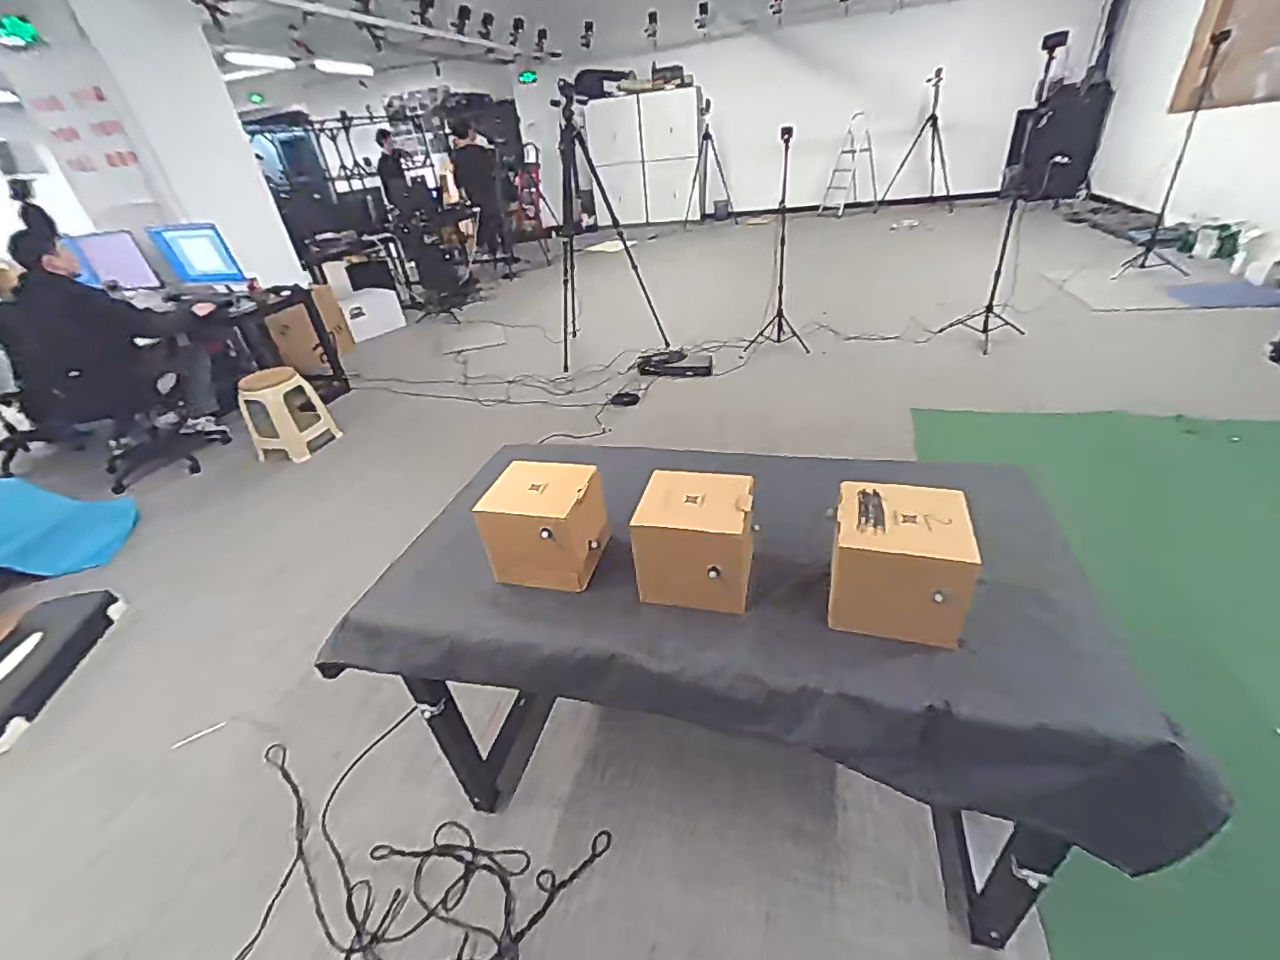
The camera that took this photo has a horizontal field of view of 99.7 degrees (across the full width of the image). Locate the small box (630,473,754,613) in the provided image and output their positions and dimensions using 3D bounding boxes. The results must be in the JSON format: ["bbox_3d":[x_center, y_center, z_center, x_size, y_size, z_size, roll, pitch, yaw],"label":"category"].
[{"bbox_3d":[0.098,0.104,0.916,0.179,0.176,0.168,2,32,17],"label":"small box"}]

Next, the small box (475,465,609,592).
[{"bbox_3d":[-0.170,0.087,0.999,0.179,0.176,0.168,3,33,15],"label":"small box"}]
